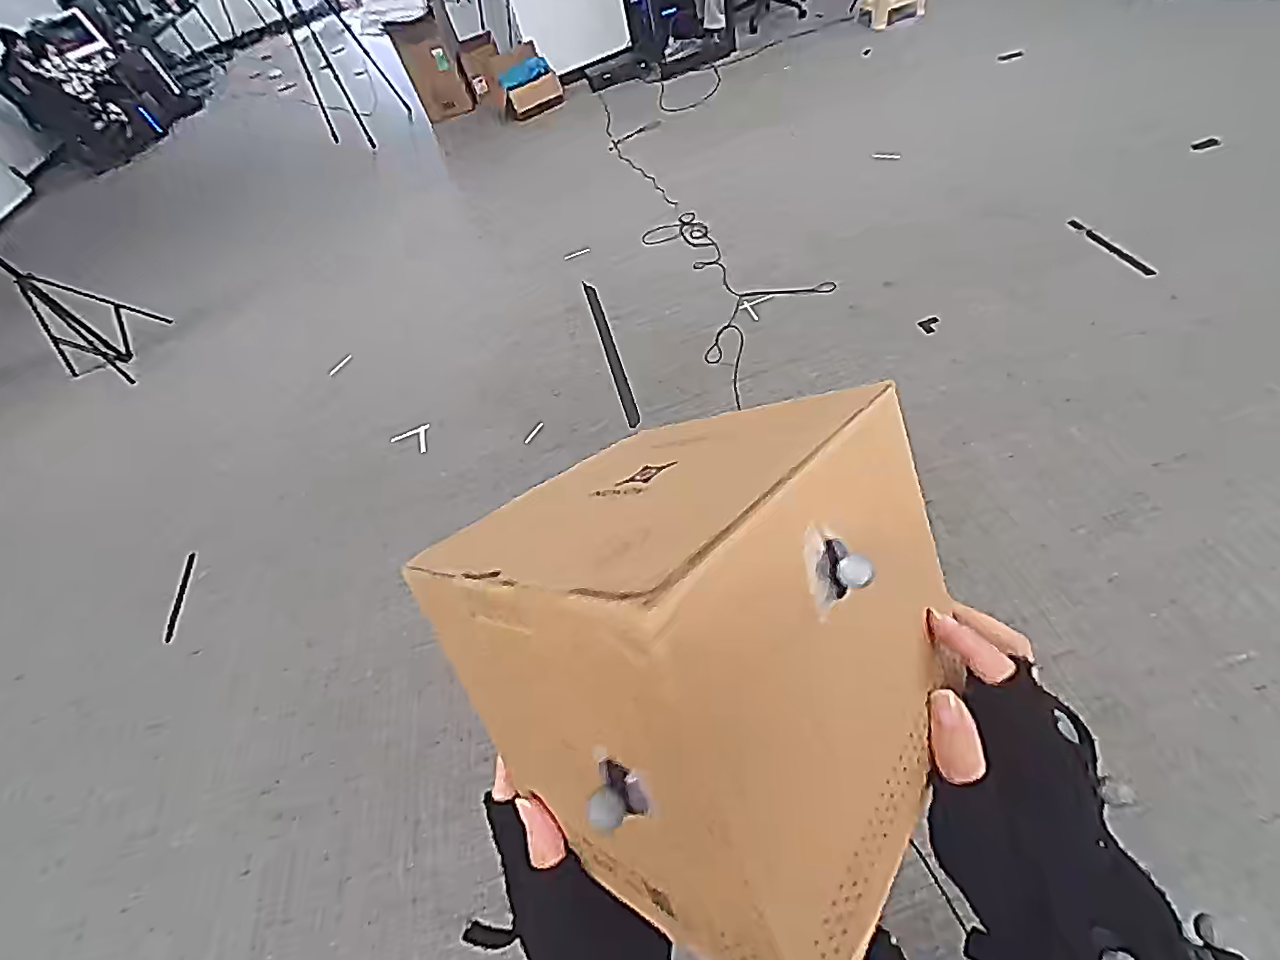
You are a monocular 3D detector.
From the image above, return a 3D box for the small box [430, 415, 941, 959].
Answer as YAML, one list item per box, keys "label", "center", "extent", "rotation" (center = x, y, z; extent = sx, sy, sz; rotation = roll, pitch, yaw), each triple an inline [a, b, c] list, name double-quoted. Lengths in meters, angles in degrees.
- label: "small box"
  center: [0.033, 0.085, 0.280]
  extent: [0.168, 0.176, 0.179]
  rotation: [-6, 19, 46]
